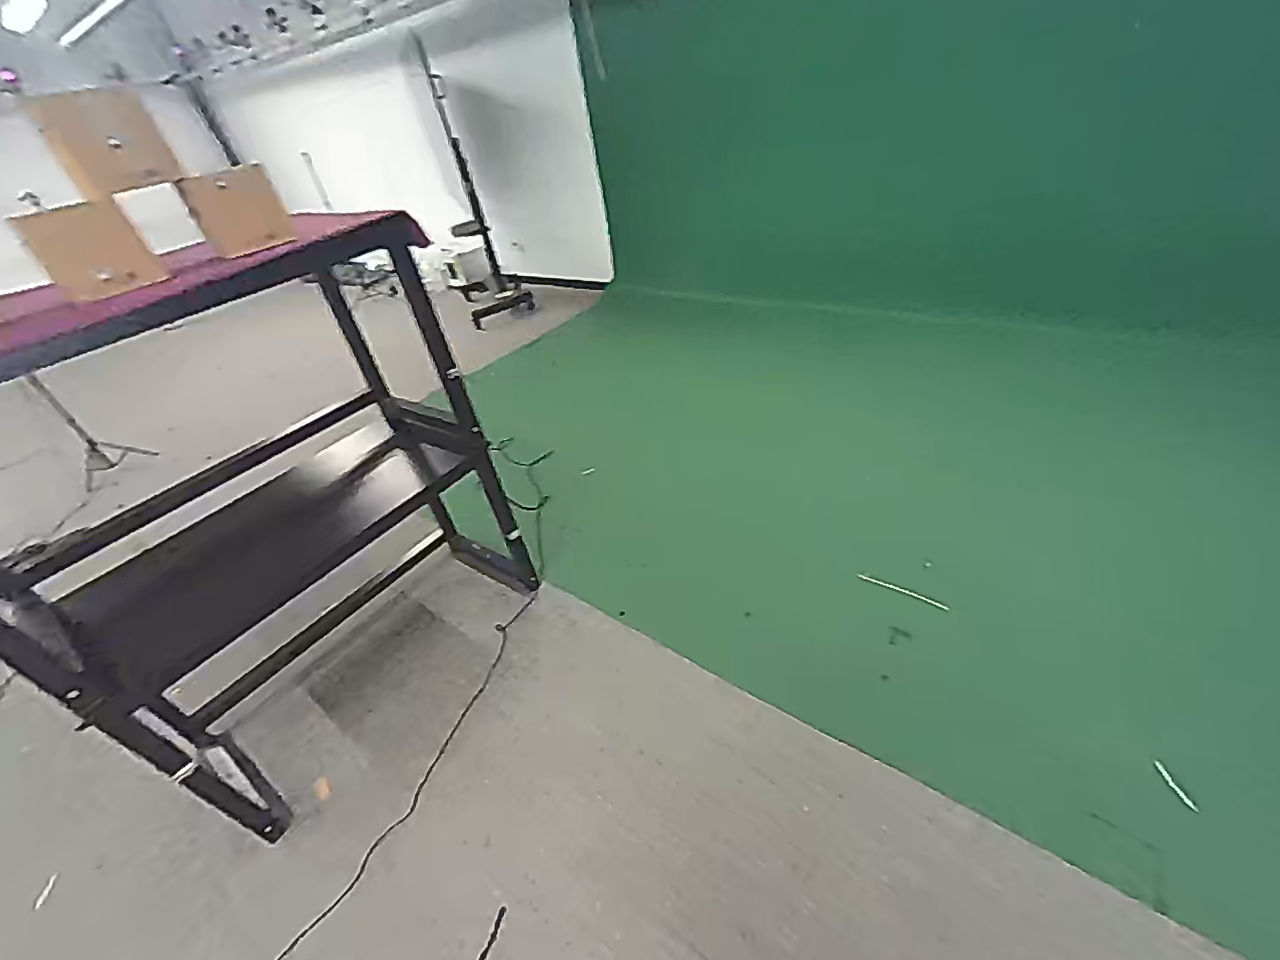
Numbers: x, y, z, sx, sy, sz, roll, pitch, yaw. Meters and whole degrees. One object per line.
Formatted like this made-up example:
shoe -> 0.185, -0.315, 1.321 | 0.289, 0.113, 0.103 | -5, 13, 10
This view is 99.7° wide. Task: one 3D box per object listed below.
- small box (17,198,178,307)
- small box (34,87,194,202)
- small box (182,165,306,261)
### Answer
small box -> -1.119, -0.471, 1.123 | 0.179, 0.176, 0.168 | 20, 47, 36
small box -> -1.068, -0.680, 1.109 | 0.179, 0.176, 0.168 | 20, 46, 37
small box -> -0.940, -0.634, 1.291 | 0.168, 0.176, 0.179 | -37, 42, -29
